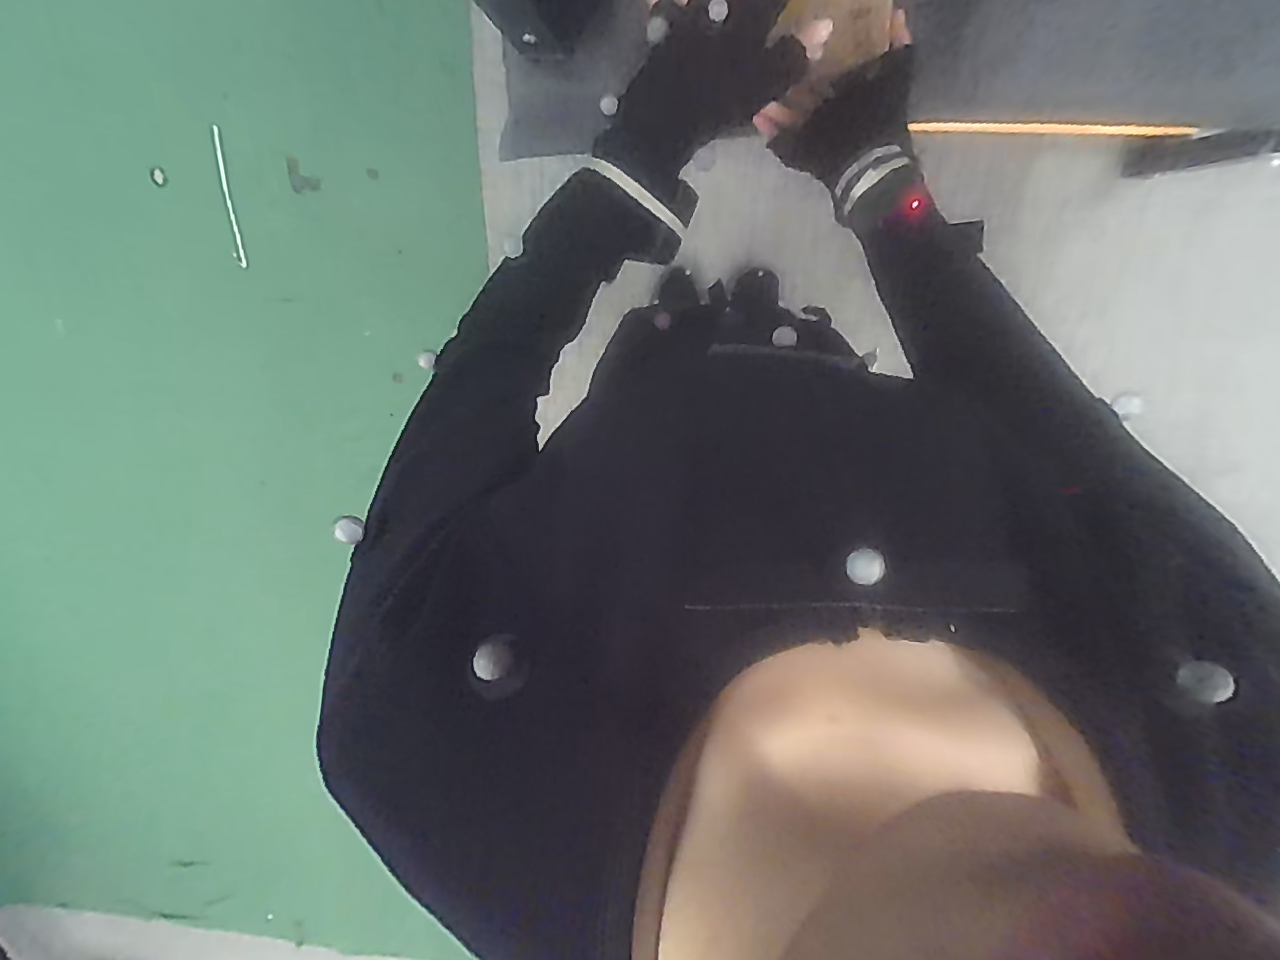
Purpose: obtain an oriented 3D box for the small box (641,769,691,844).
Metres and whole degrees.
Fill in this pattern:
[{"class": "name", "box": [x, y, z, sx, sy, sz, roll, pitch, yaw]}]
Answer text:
[{"class": "small box", "box": [0.096, 1.167, 1.941, 0.168, 0.176, 0.179, -3, 113, 8]}]
